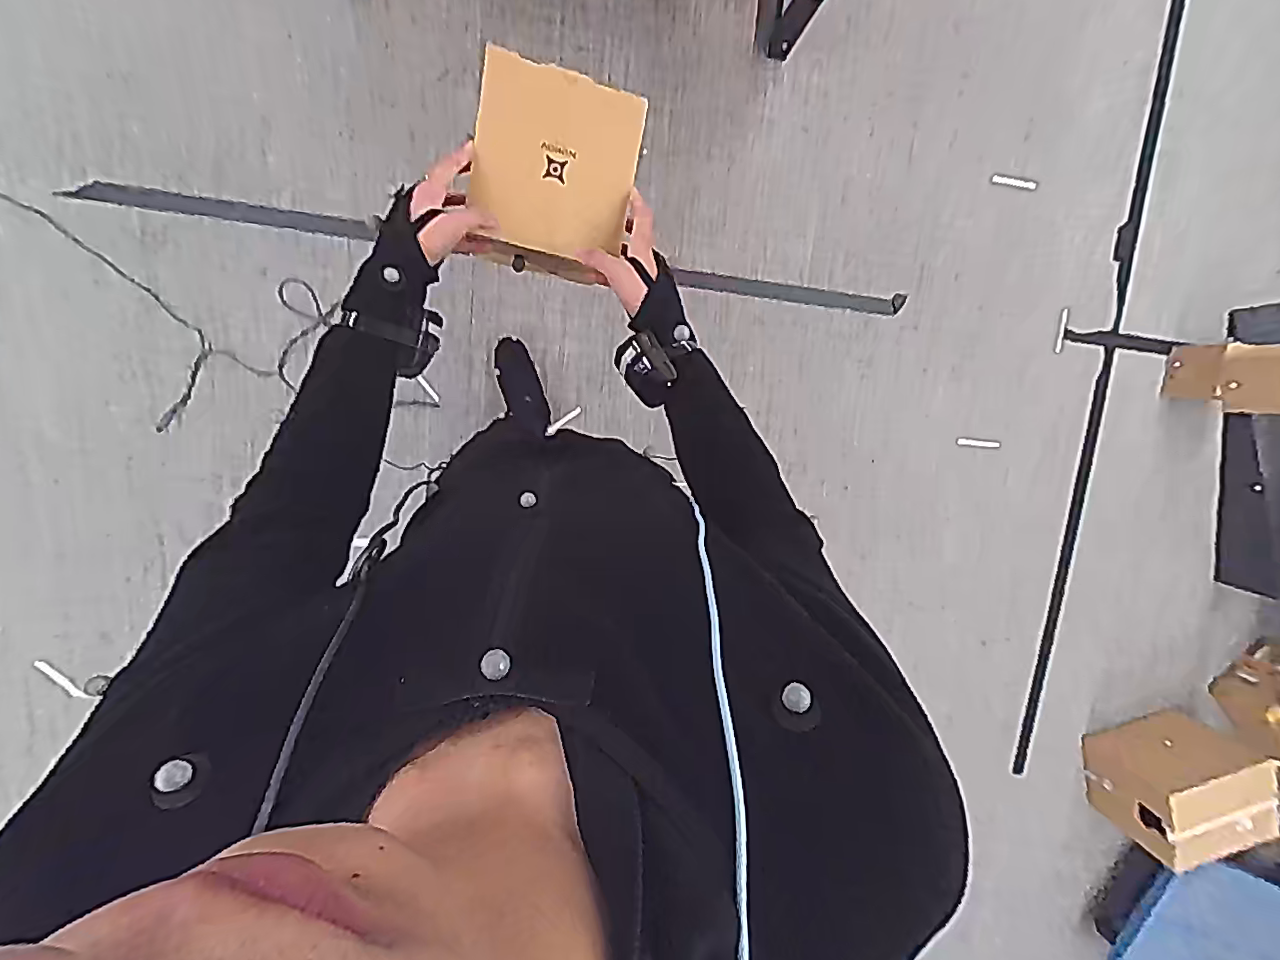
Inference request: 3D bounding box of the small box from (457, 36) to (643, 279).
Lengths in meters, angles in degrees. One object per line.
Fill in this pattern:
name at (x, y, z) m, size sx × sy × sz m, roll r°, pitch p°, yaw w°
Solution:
small box at (-0.107, -0.343, 0.622) m, size 0.168 × 0.176 × 0.179 m, roll 8°, pitch 100°, yaw -15°
